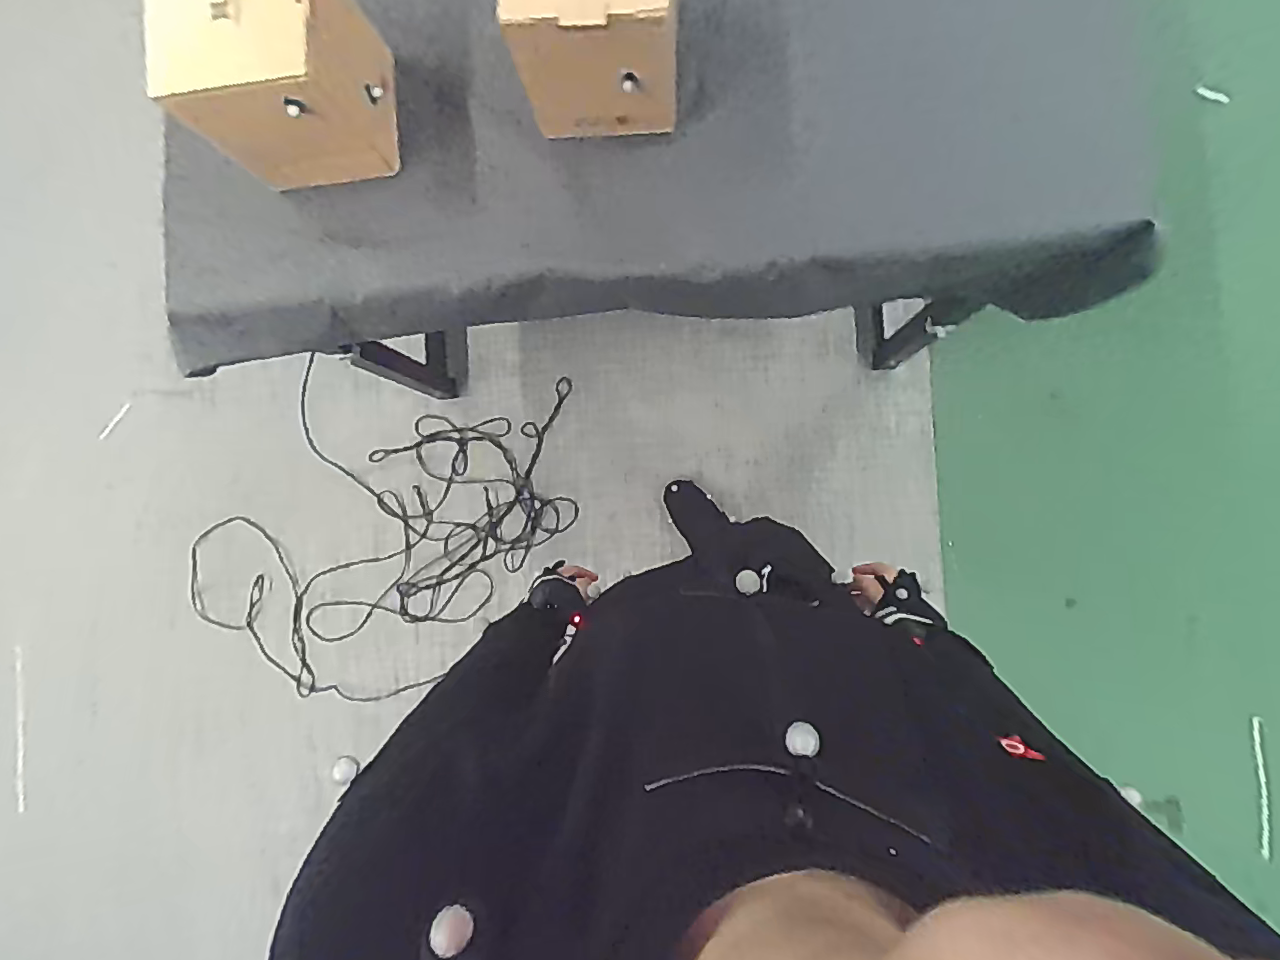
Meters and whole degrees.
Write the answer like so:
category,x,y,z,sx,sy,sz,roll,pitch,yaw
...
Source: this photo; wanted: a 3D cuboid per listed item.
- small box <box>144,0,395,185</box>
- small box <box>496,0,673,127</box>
category,x,y,z,sx,sy,sz,roll,pitch,yaw
small box,-0.412,-0.469,0.622,0.179,0.176,0.168,-5,87,5
small box,-0.049,-0.517,0.590,0.168,0.176,0.179,0,87,4
